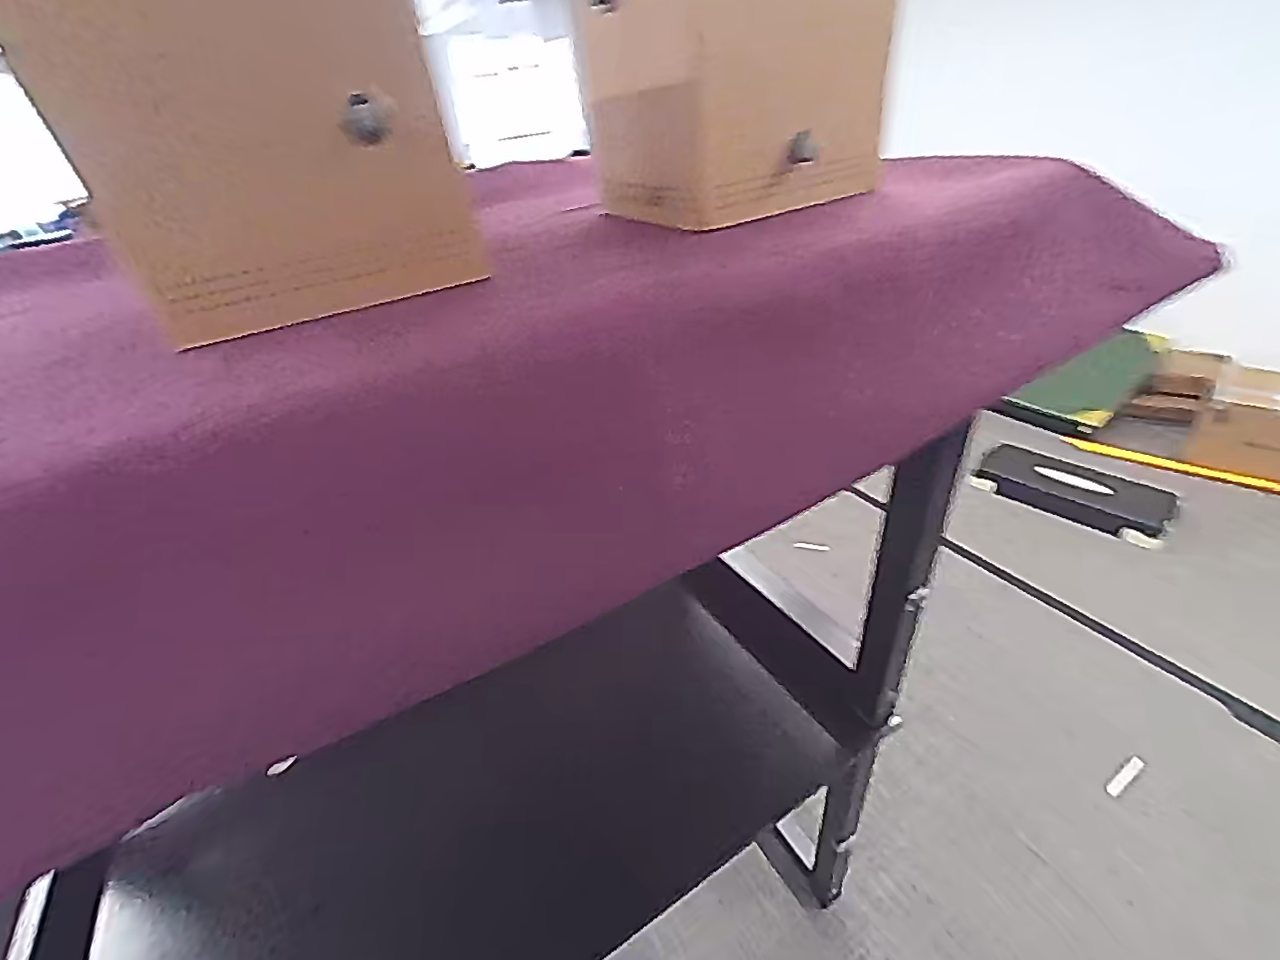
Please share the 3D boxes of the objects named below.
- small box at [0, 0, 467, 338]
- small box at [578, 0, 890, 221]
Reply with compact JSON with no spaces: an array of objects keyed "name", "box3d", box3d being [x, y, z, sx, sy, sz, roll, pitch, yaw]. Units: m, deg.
[{"name":"small box","box3d":[-0.218,-0.204,0.322,0.179,0.176,0.168,-23,37,-20]},{"name":"small box","box3d":[0.065,-0.312,0.415,0.179,0.176,0.168,-23,36,-20]}]
